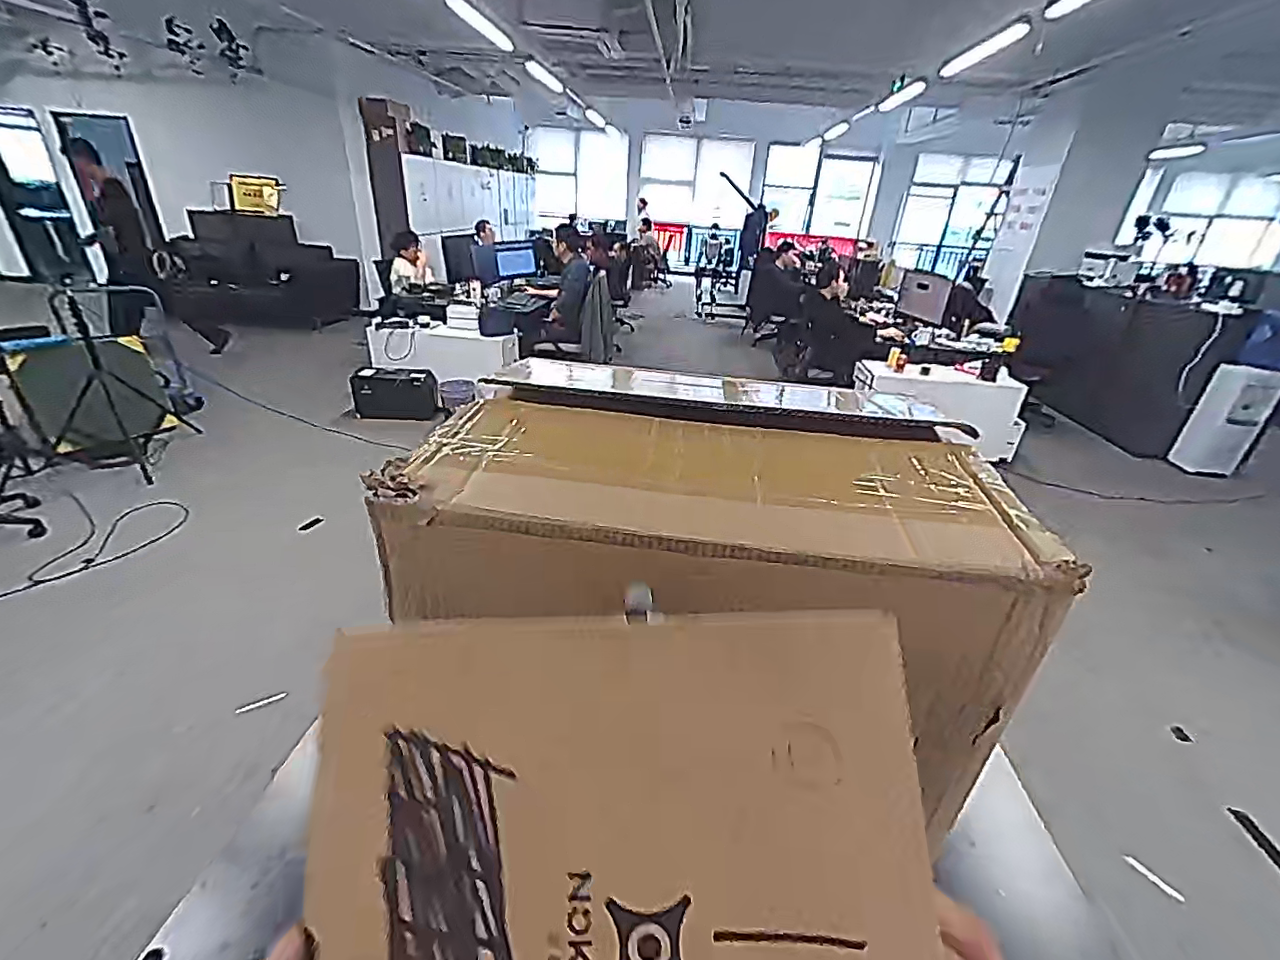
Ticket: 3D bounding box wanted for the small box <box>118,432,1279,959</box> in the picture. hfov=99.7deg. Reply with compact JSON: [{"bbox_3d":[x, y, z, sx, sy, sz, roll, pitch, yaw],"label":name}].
[{"bbox_3d":[0.020,0.092,0.142,0.179,0.168,0.176,-2,-12,-2],"label":"small box"}]
